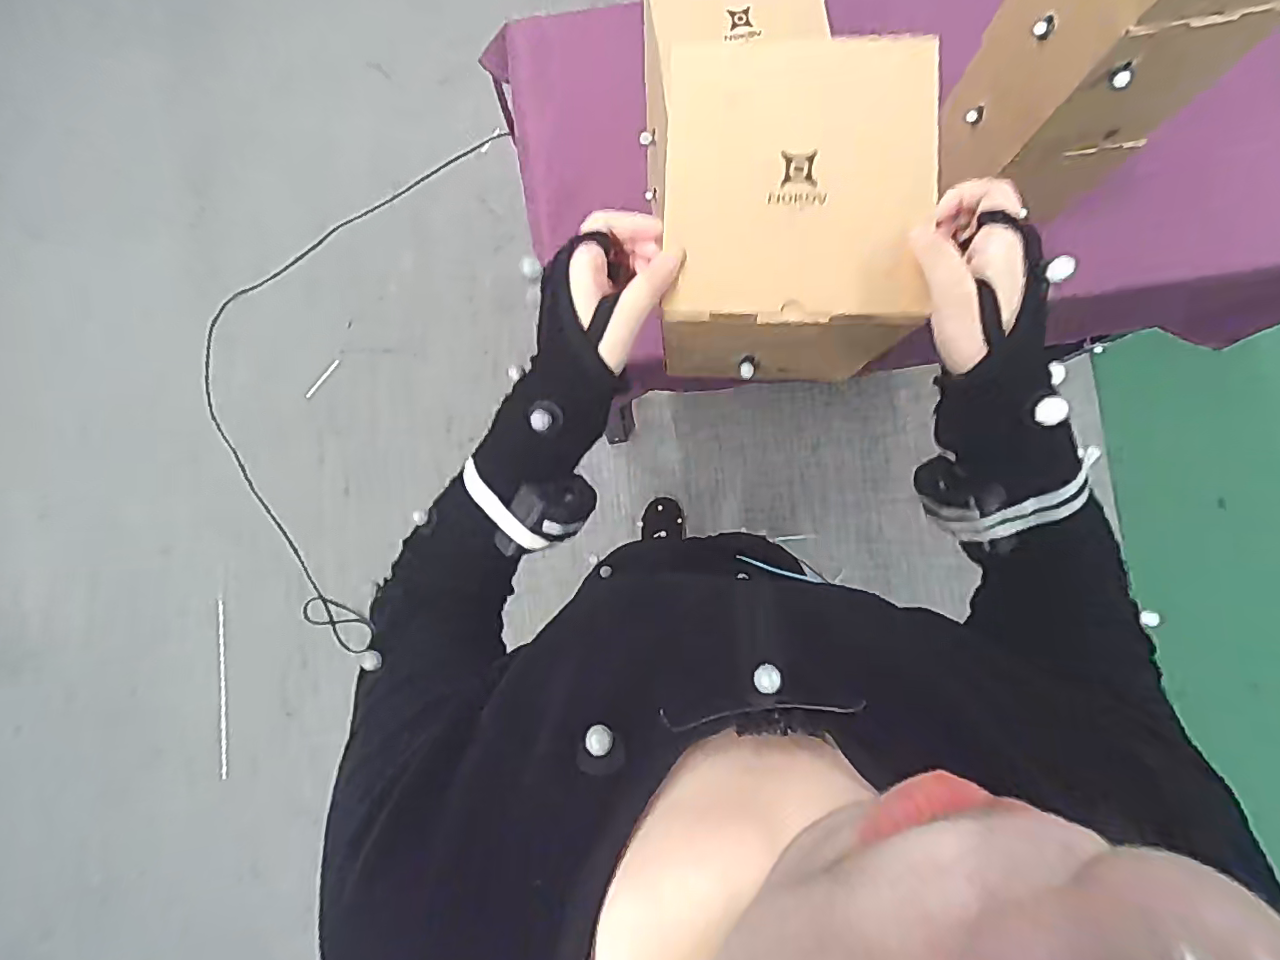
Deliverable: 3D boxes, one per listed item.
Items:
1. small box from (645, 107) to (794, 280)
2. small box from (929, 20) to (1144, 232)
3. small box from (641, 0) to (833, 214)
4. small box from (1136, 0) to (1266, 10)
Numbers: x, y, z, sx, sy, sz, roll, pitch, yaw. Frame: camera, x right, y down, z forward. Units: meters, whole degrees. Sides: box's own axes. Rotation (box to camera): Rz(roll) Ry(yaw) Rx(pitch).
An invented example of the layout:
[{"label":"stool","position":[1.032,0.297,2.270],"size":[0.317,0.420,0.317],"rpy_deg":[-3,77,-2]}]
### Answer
[{"label":"small box","position":[0.102,-0.399,0.757],"size":[0.168,0.176,0.179],"rpy_deg":[-9,83,1]},{"label":"small box","position":[0.529,-0.477,0.750],"size":[0.168,0.176,0.179],"rpy_deg":[-6,84,2]},{"label":"small box","position":[0.094,-0.417,0.593],"size":[0.168,0.176,0.179],"rpy_deg":[-7,84,0]},{"label":"small box","position":[0.515,-0.521,0.426],"size":[0.168,0.176,0.179],"rpy_deg":[-9,83,0]}]
